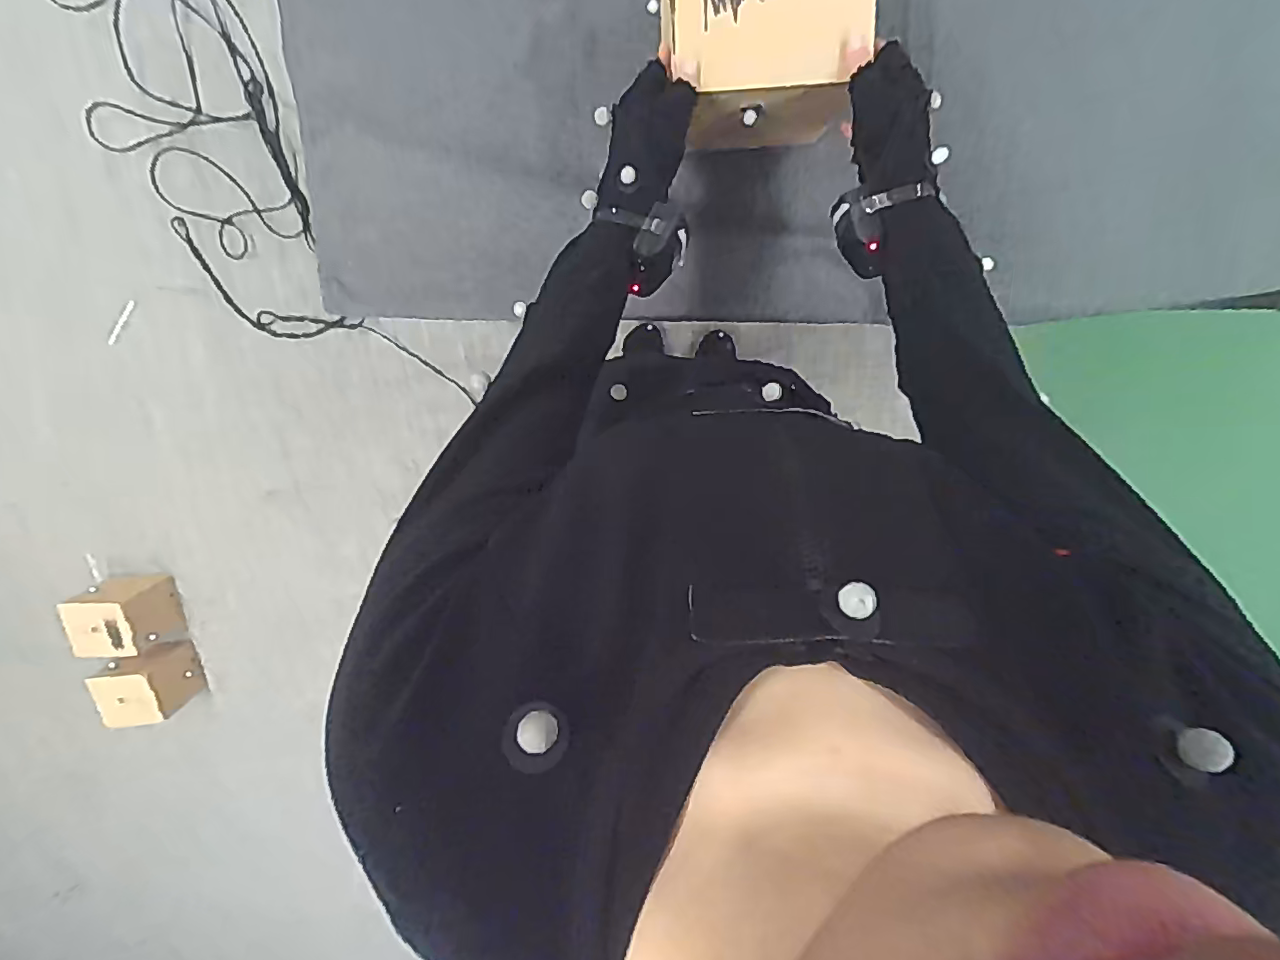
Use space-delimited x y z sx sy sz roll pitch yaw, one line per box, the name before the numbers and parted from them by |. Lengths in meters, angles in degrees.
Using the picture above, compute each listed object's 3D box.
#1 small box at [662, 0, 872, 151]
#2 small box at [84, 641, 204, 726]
small box | 0.111 -0.442 0.533 0.179 0.176 0.168 -3 106 1
small box | -1.446 0.593 1.588 0.179 0.176 0.168 -5 106 2
